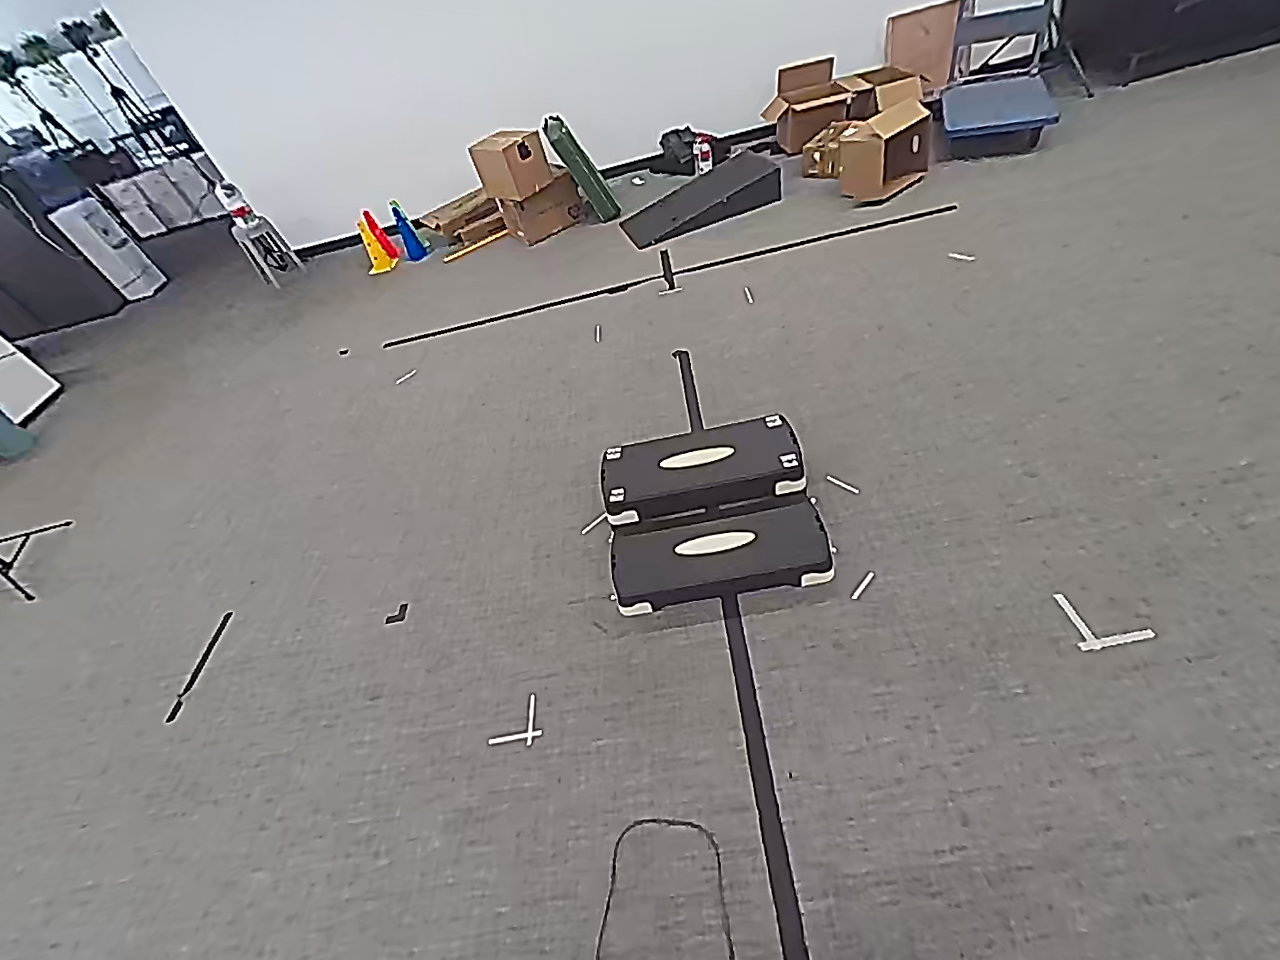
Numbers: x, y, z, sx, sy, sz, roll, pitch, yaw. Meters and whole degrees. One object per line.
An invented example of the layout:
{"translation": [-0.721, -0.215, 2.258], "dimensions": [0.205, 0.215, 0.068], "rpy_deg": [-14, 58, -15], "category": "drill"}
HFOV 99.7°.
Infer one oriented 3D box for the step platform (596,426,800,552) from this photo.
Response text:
{"translation": [0.190, 0.027, 1.855], "dimensions": [0.684, 0.204, 0.286], "rpy_deg": [-12, 46, 5], "category": "step platform"}
